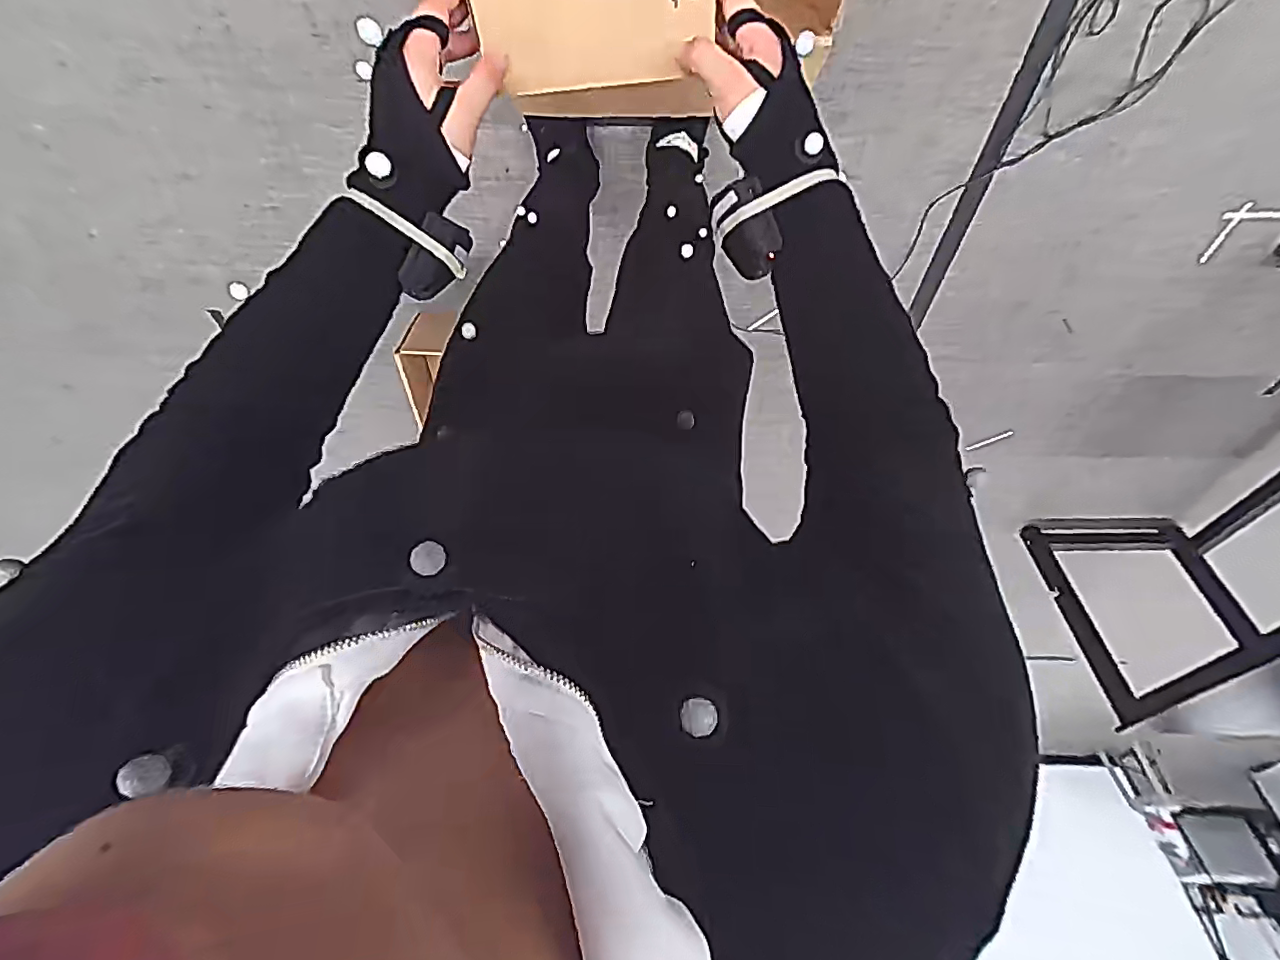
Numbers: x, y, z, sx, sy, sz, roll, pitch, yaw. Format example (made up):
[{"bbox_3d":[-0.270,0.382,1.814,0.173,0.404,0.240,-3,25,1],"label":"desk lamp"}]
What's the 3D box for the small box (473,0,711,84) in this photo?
[{"bbox_3d":[-0.038,-0.429,0.423,0.179,0.176,0.168,-4,135,2],"label":"small box"}]
